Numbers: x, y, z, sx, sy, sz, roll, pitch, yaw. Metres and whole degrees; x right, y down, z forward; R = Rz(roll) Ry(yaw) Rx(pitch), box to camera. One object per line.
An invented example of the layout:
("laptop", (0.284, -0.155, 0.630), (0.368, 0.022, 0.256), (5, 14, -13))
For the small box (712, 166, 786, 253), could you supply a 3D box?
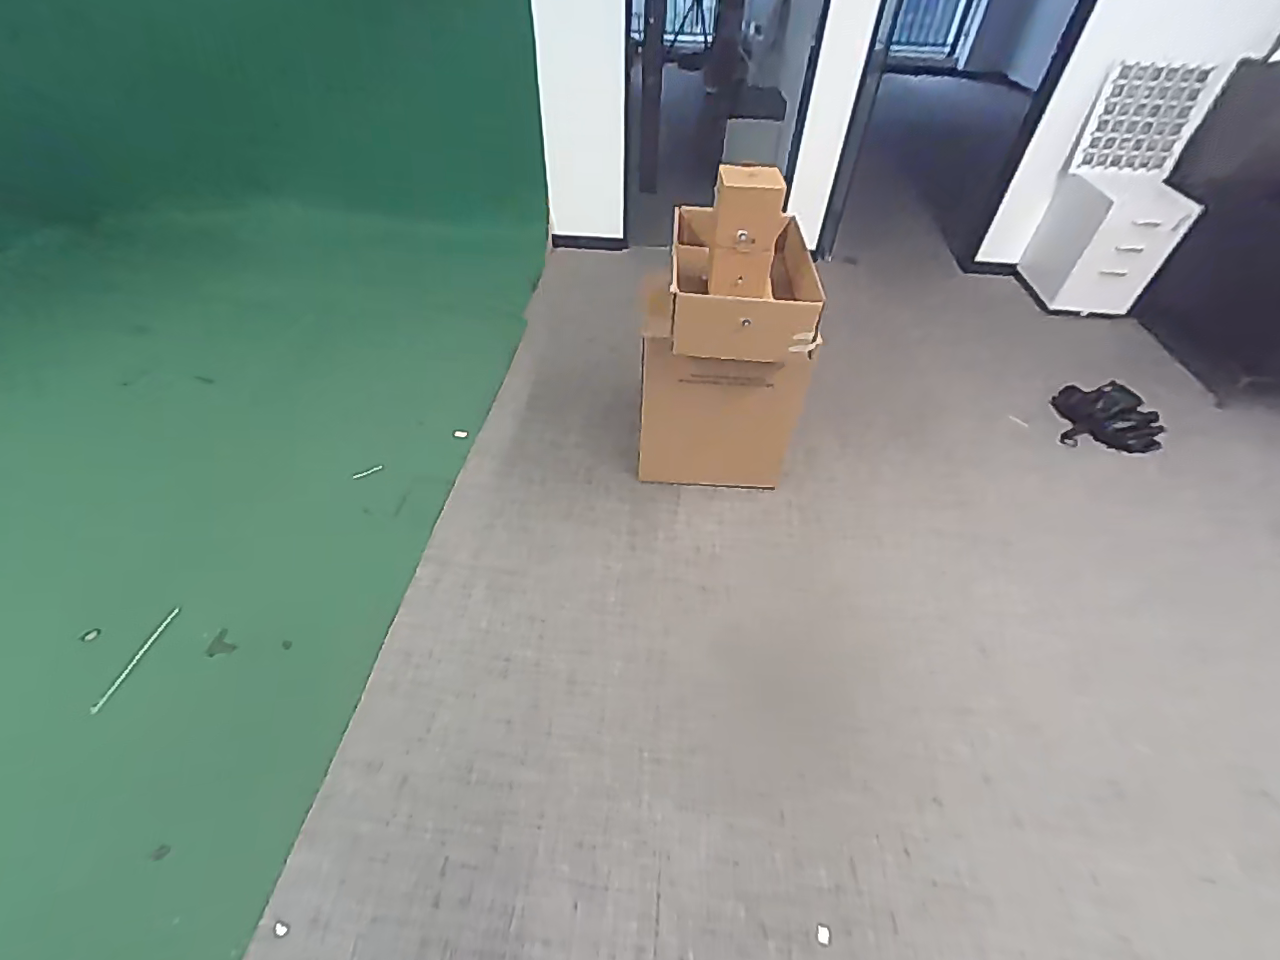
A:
("small box", (0.298, -0.758, 1.517), (0.168, 0.176, 0.179), (2, 46, 0))
